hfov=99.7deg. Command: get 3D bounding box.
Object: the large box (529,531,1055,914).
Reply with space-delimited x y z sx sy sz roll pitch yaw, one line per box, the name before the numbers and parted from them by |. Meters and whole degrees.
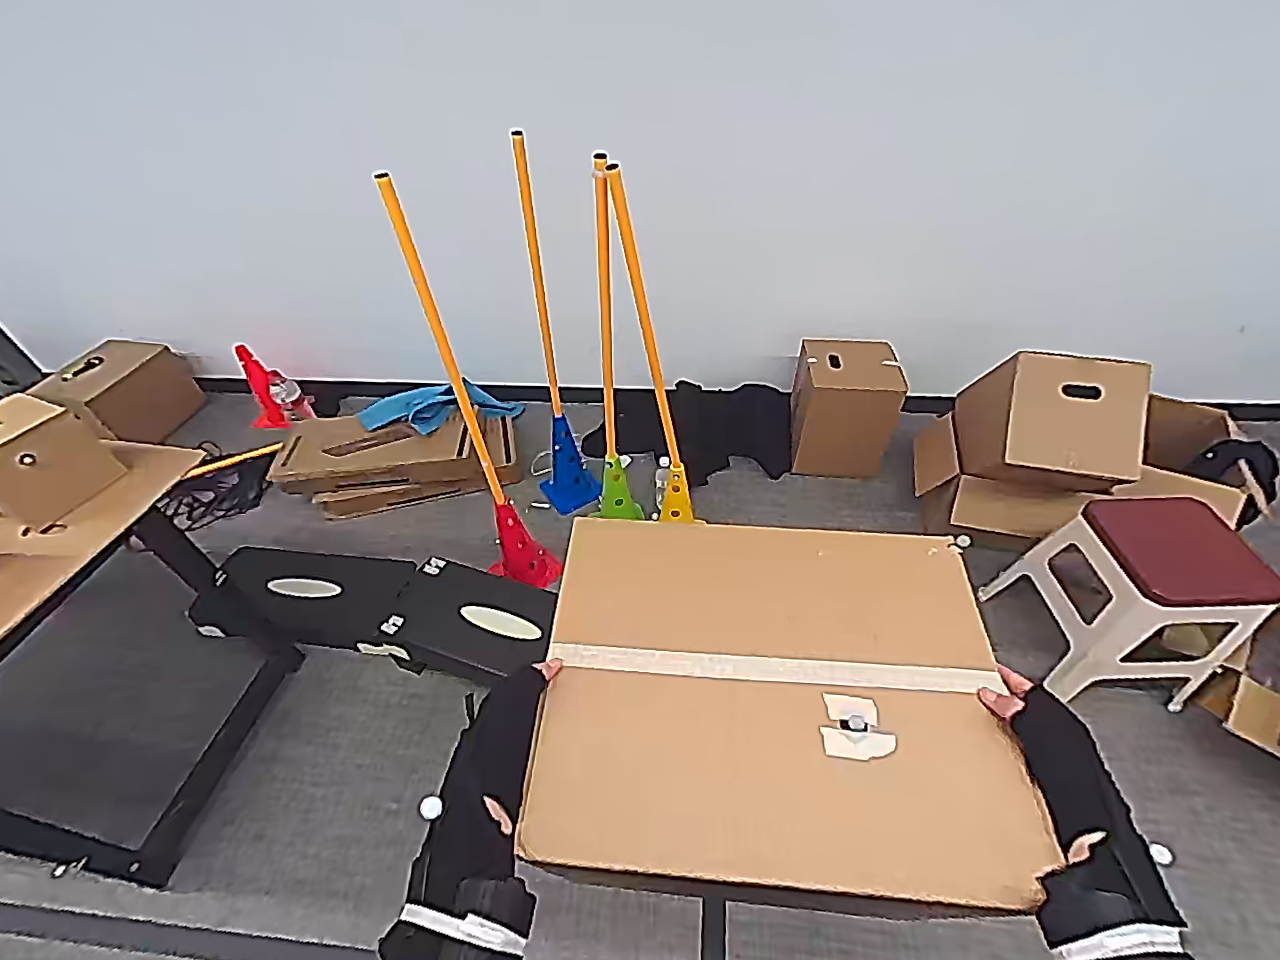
large box | 0.121 0.278 0.614 0.408 0.320 0.320 3 52 4
